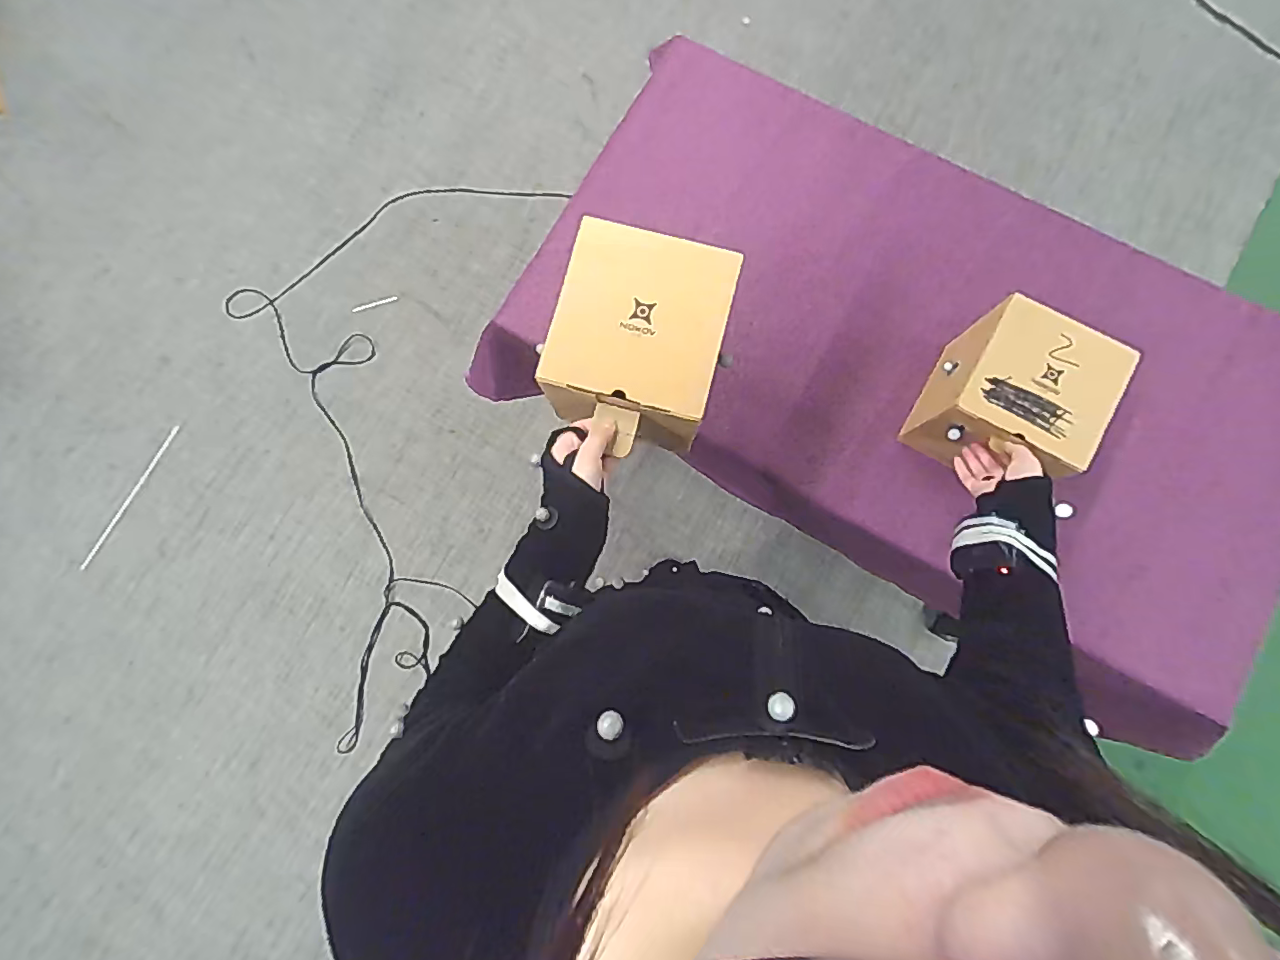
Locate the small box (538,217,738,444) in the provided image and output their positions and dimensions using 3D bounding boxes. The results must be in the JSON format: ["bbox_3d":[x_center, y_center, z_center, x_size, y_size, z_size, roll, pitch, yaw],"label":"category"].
[{"bbox_3d":[-0.001,-0.155,0.616,0.168,0.176,0.179,15,84,2],"label":"small box"}]
